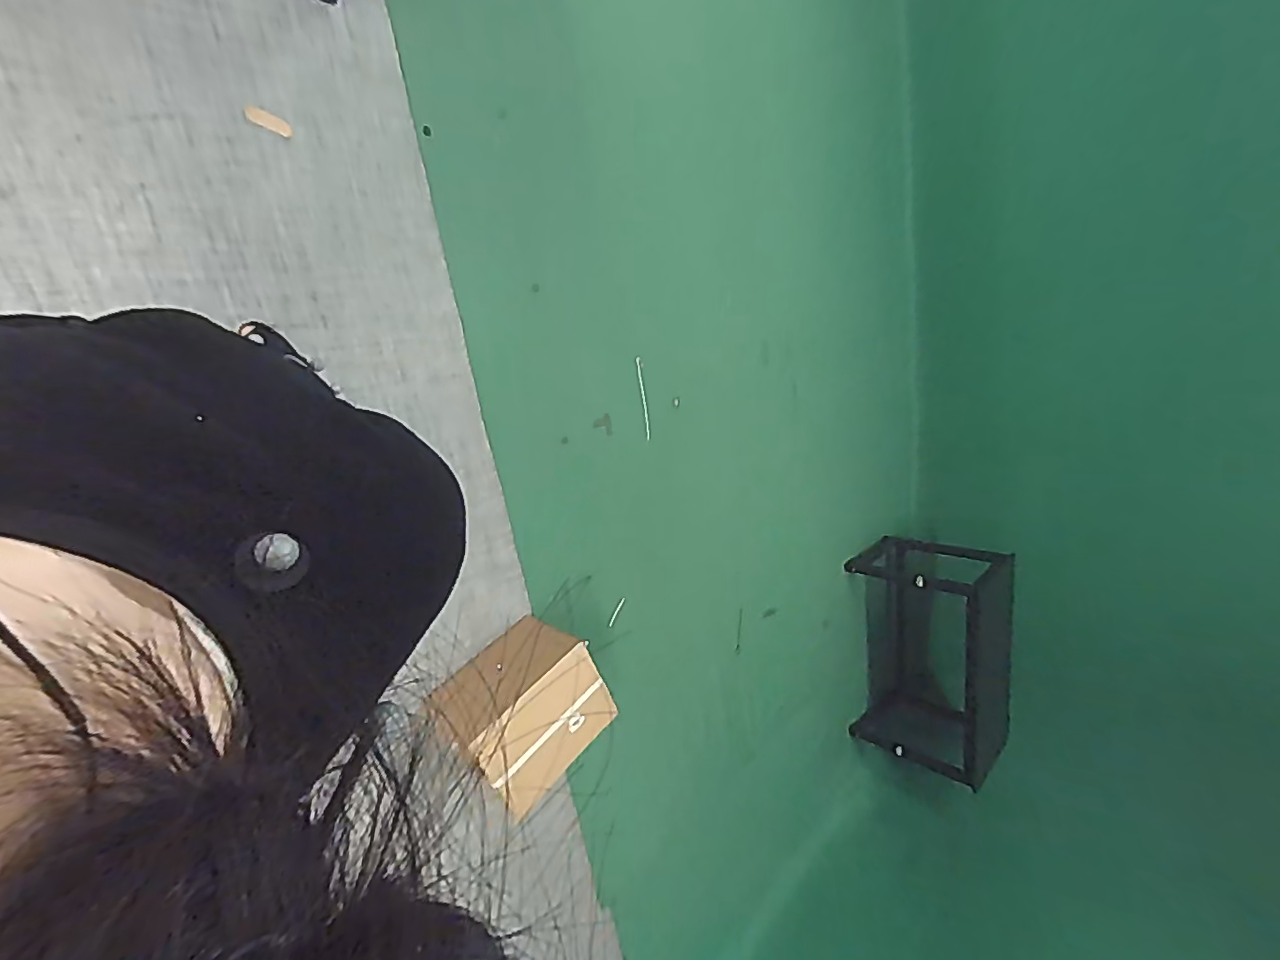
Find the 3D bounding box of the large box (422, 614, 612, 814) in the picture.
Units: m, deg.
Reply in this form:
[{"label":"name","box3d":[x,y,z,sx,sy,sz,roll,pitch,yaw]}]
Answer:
[{"label":"large box","box3d":[-0.366,0.680,1.642,0.408,0.320,0.320,-38,119,-34]}]
